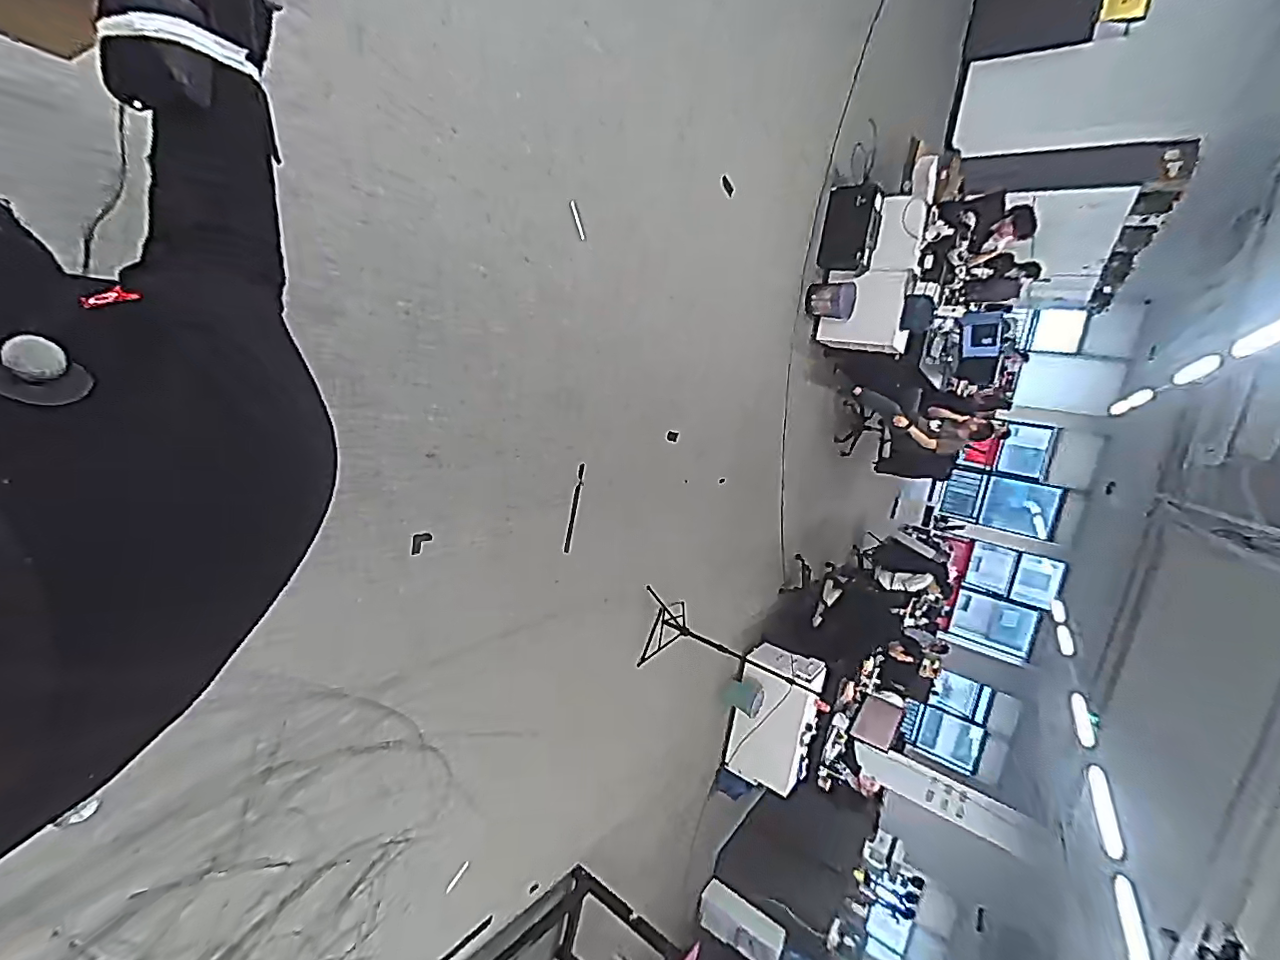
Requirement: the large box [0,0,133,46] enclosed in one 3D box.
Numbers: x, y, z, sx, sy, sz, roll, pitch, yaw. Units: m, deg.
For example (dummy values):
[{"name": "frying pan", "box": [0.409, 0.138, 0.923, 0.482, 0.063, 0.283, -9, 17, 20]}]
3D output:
[{"name": "large box", "box": [-0.527, -0.502, 0.250, 0.408, 0.320, 0.320, -6, 113, -55]}]
